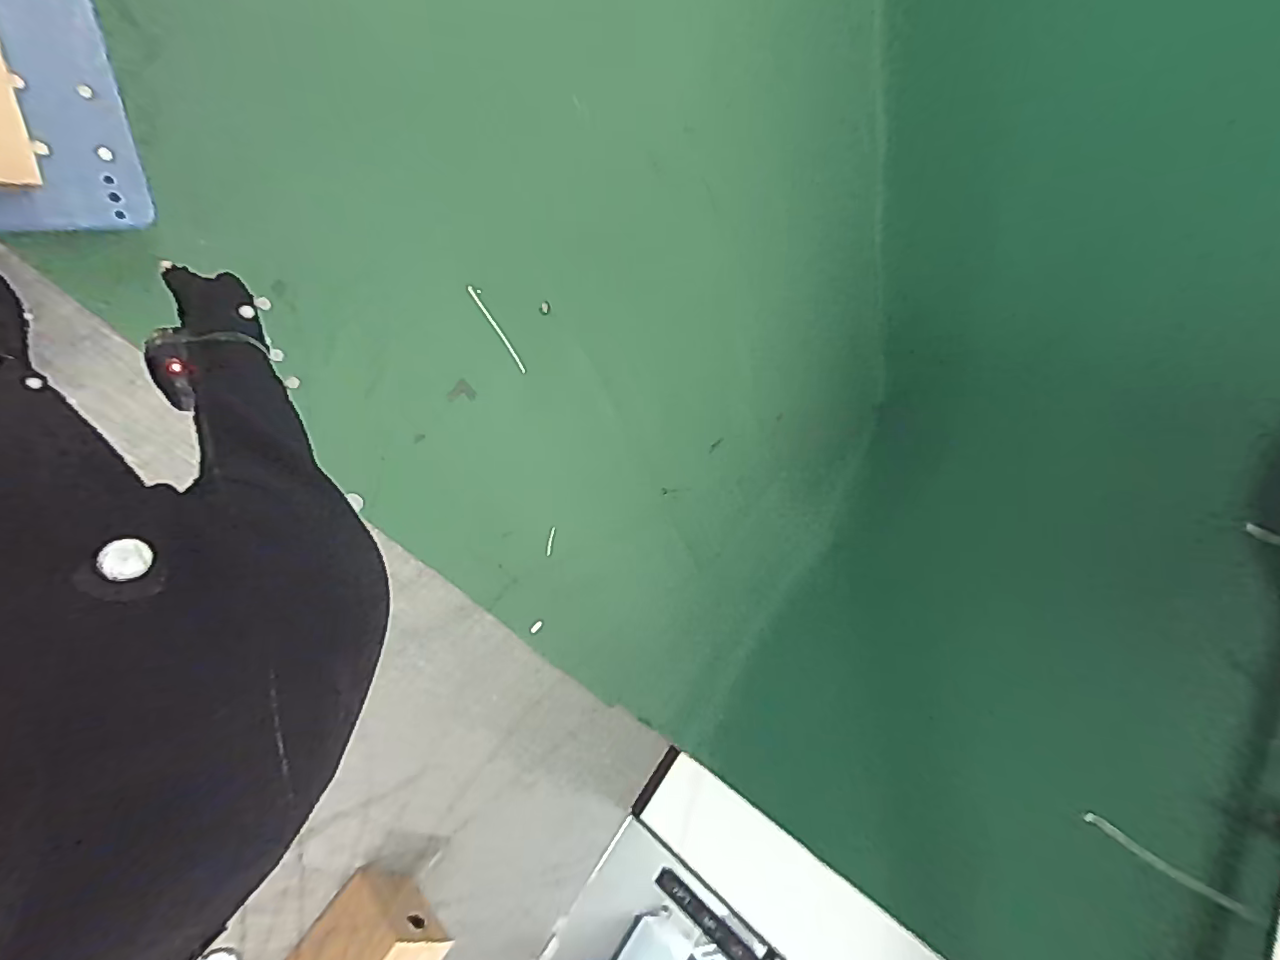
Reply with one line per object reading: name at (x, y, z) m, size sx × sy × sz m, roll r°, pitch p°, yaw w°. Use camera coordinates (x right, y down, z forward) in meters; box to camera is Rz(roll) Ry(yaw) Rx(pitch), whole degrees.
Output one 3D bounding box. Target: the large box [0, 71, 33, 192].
large box at (-0.911, -0.464, 0.497) m, size 0.408 × 0.320 × 0.320 m, roll -21°, pitch 122°, yaw -44°
